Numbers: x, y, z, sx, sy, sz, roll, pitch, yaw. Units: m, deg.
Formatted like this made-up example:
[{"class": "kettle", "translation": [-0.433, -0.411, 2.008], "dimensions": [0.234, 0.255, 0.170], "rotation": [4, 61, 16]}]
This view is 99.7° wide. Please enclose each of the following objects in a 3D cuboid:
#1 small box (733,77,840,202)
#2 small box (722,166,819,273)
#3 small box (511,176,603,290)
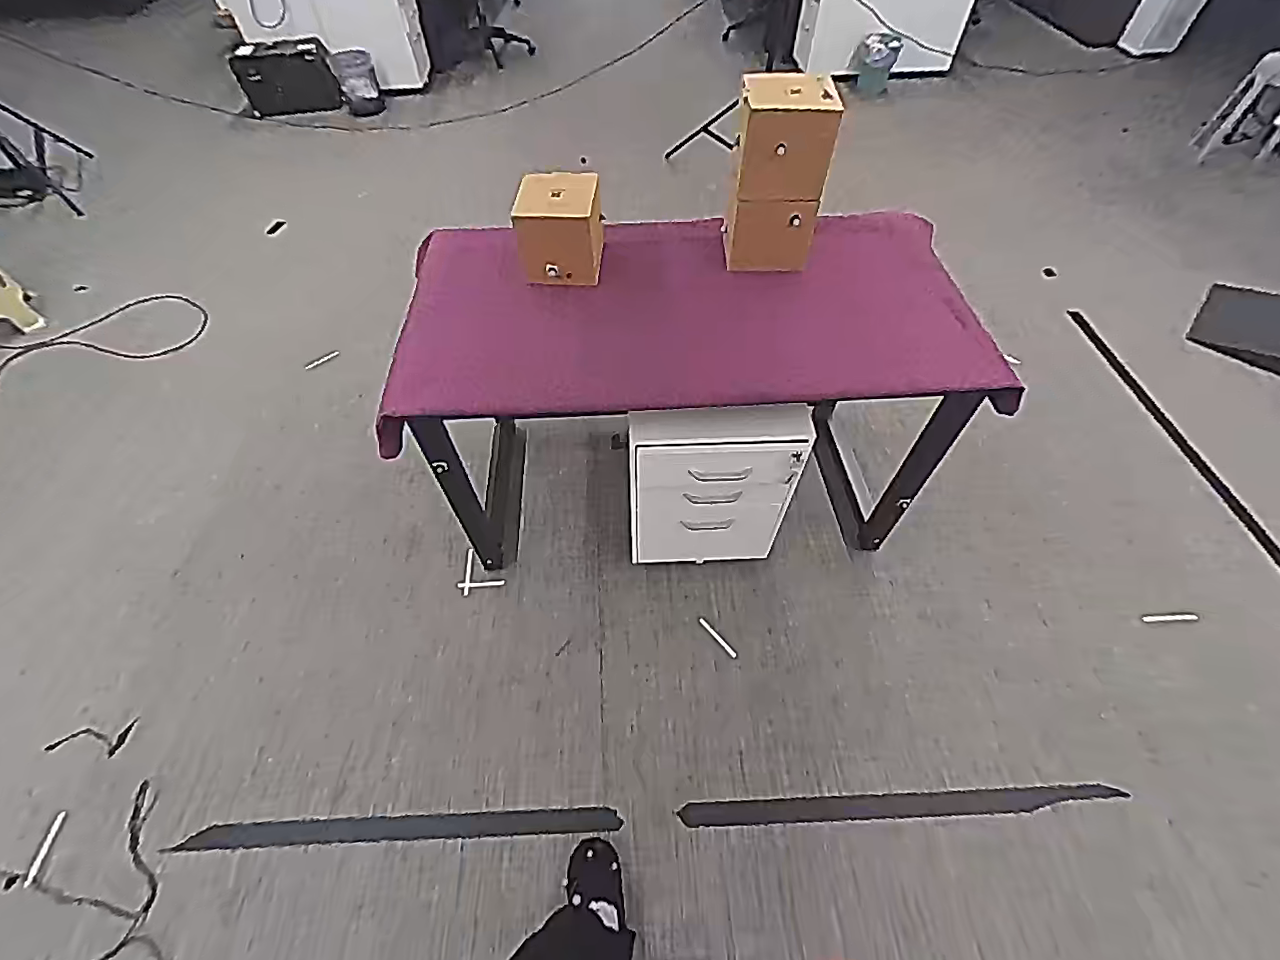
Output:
[{"class": "small box", "translation": [0.284, -0.686, 1.095], "dimensions": [0.179, 0.176, 0.168], "rotation": [1, 56, 2]}, {"class": "small box", "translation": [0.287, -0.590, 1.228], "dimensions": [0.179, 0.176, 0.168], "rotation": [0, 55, 1]}, {"class": "small box", "translation": [-0.176, -0.550, 1.207], "dimensions": [0.168, 0.176, 0.179], "rotation": [1, 57, 3]}]
